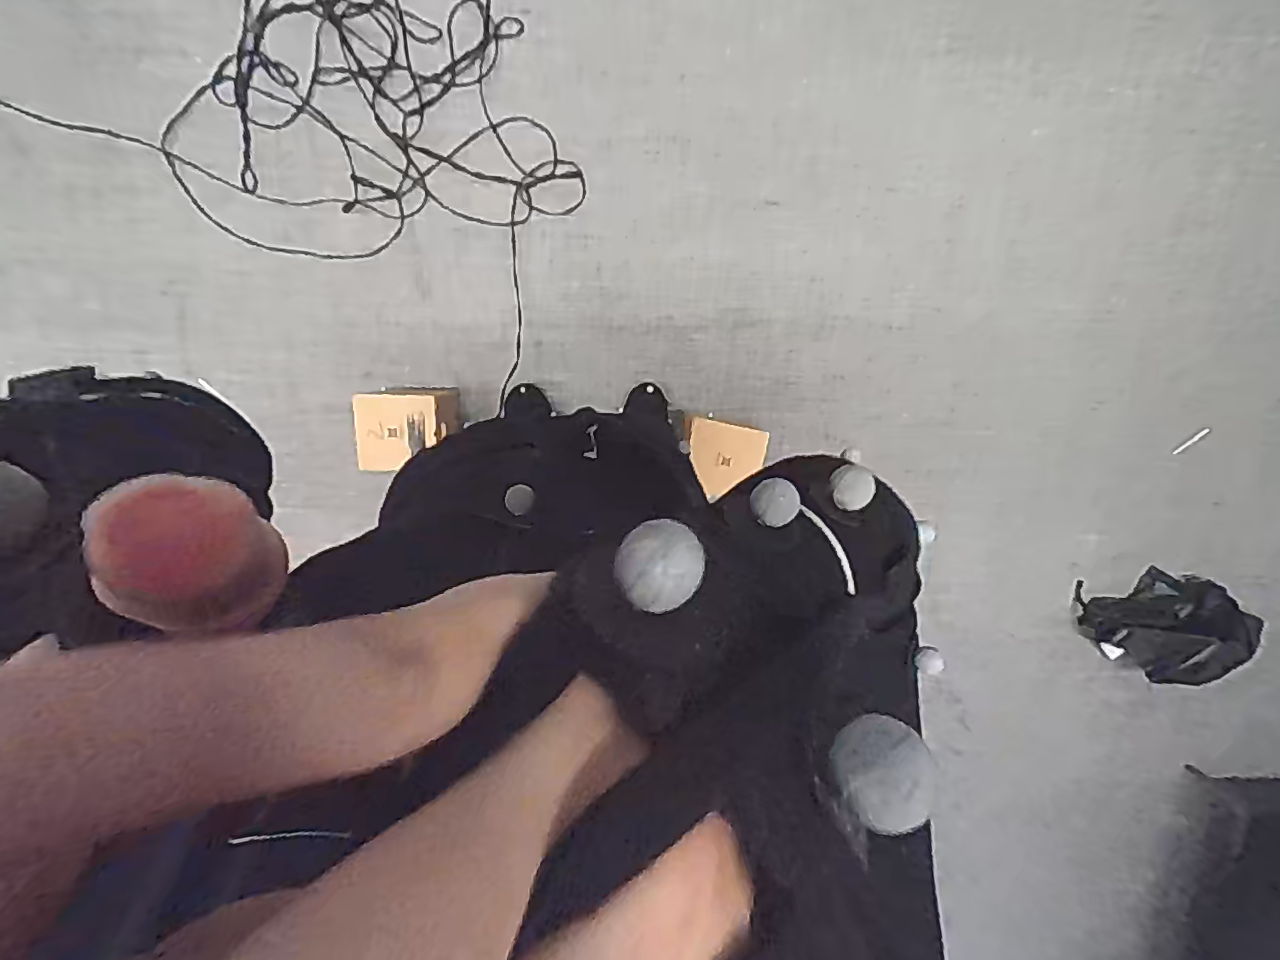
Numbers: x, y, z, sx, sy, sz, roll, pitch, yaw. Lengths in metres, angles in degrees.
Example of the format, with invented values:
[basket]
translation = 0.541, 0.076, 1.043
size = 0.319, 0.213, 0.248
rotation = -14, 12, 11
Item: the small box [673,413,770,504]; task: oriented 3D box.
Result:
[small box]
translation = 0.184, -0.057, 1.274
size = 0.179, 0.176, 0.168
rotation = 11, 102, -4
